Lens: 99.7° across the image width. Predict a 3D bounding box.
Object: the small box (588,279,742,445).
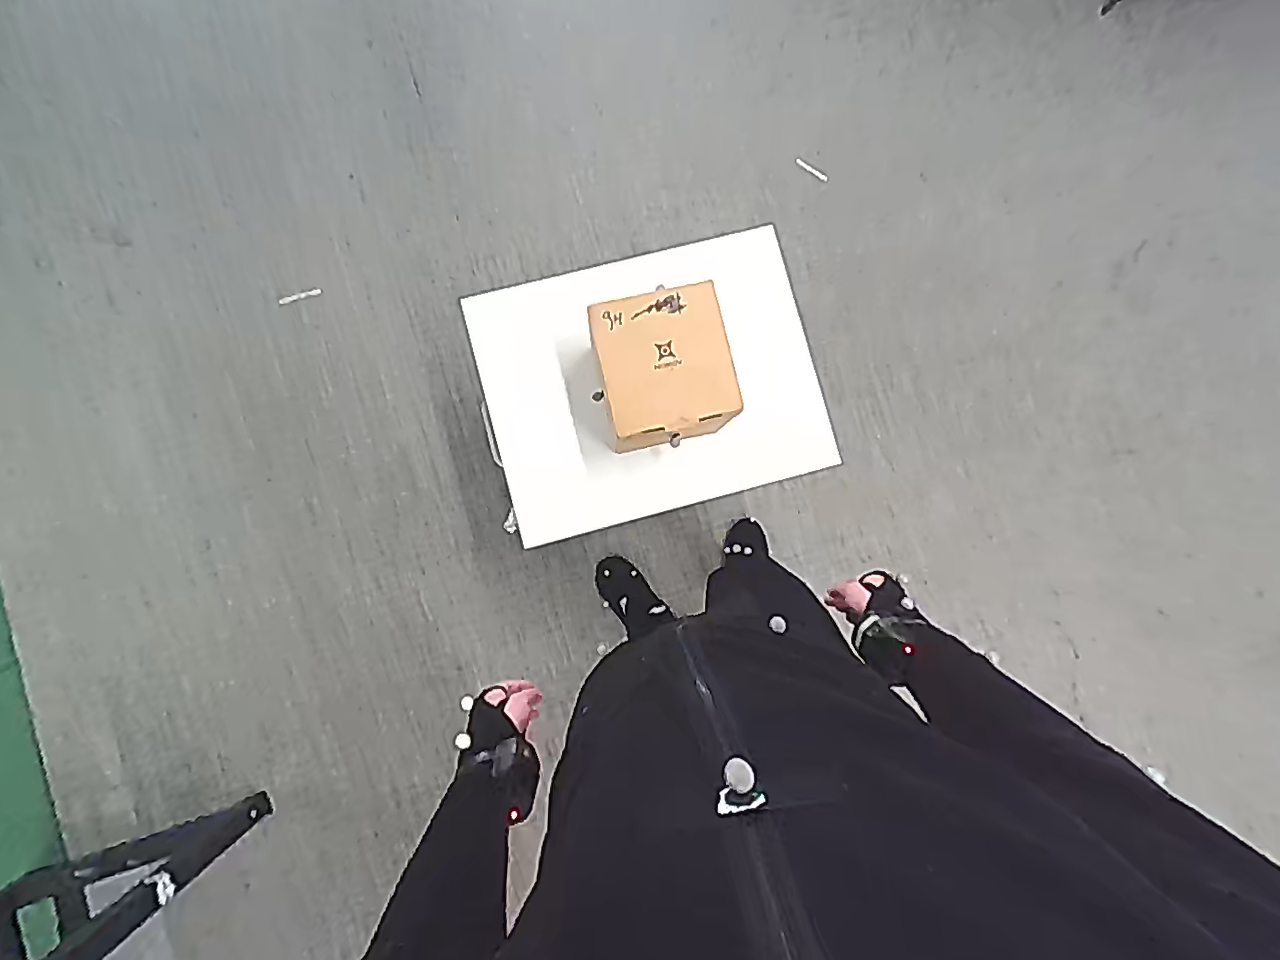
[{"bbox_3d":[0.030,-0.152,0.767,0.168,0.176,0.179,-15,86,-3],"label":"small box"}]
